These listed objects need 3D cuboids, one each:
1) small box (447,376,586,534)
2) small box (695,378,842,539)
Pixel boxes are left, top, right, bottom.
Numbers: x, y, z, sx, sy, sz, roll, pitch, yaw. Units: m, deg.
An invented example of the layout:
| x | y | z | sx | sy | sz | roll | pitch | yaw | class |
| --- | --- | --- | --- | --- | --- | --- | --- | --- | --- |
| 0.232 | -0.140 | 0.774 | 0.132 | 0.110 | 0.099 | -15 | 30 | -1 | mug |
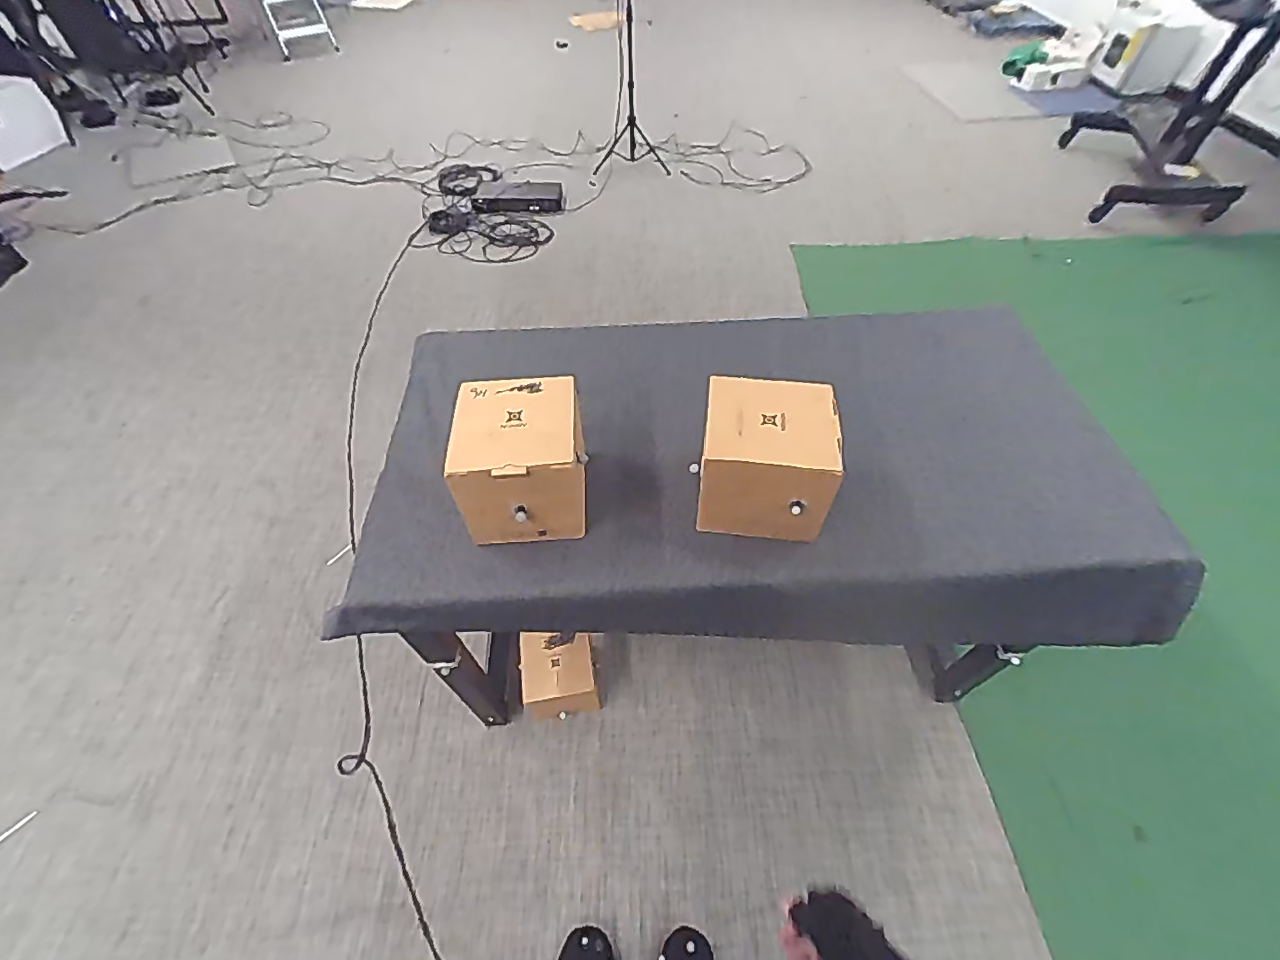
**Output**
| x | y | z | sx | sy | sz | roll | pitch | yaw | class |
| --- | --- | --- | --- | --- | --- | --- | --- | --- | --- |
| -0.168 | -0.030 | 0.797 | 0.168 | 0.176 | 0.179 | -3 | 51 | -3 | small box |
| 0.179 | -0.028 | 0.797 | 0.179 | 0.176 | 0.168 | 5 | 50 | 5 | small box |
